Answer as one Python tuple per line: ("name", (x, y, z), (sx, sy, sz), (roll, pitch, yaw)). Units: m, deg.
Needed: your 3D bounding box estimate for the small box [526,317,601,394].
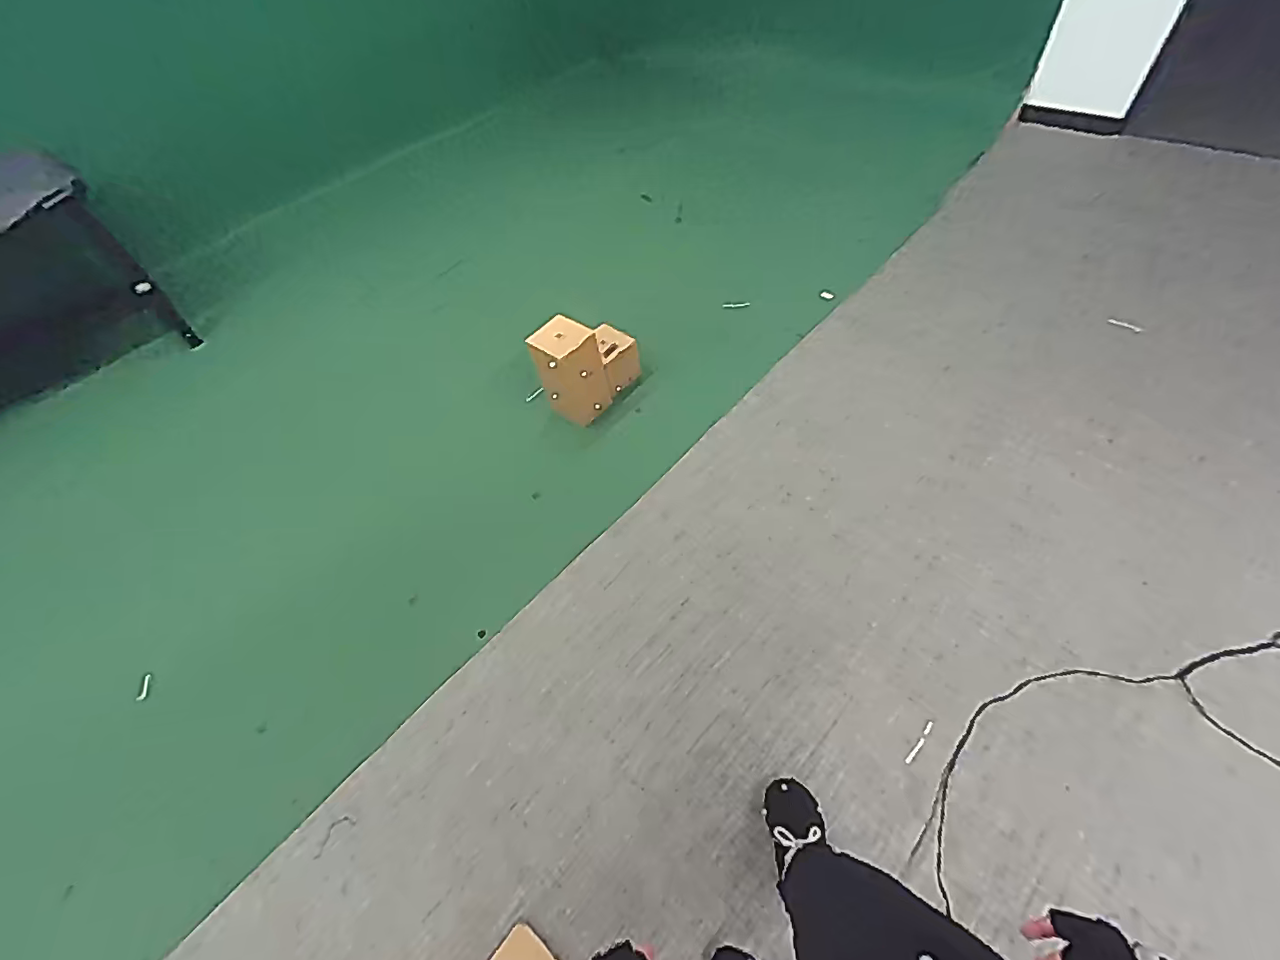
("small box", (-0.258, -0.422, 1.850), (0.179, 0.176, 0.168), (31, 64, 26))
